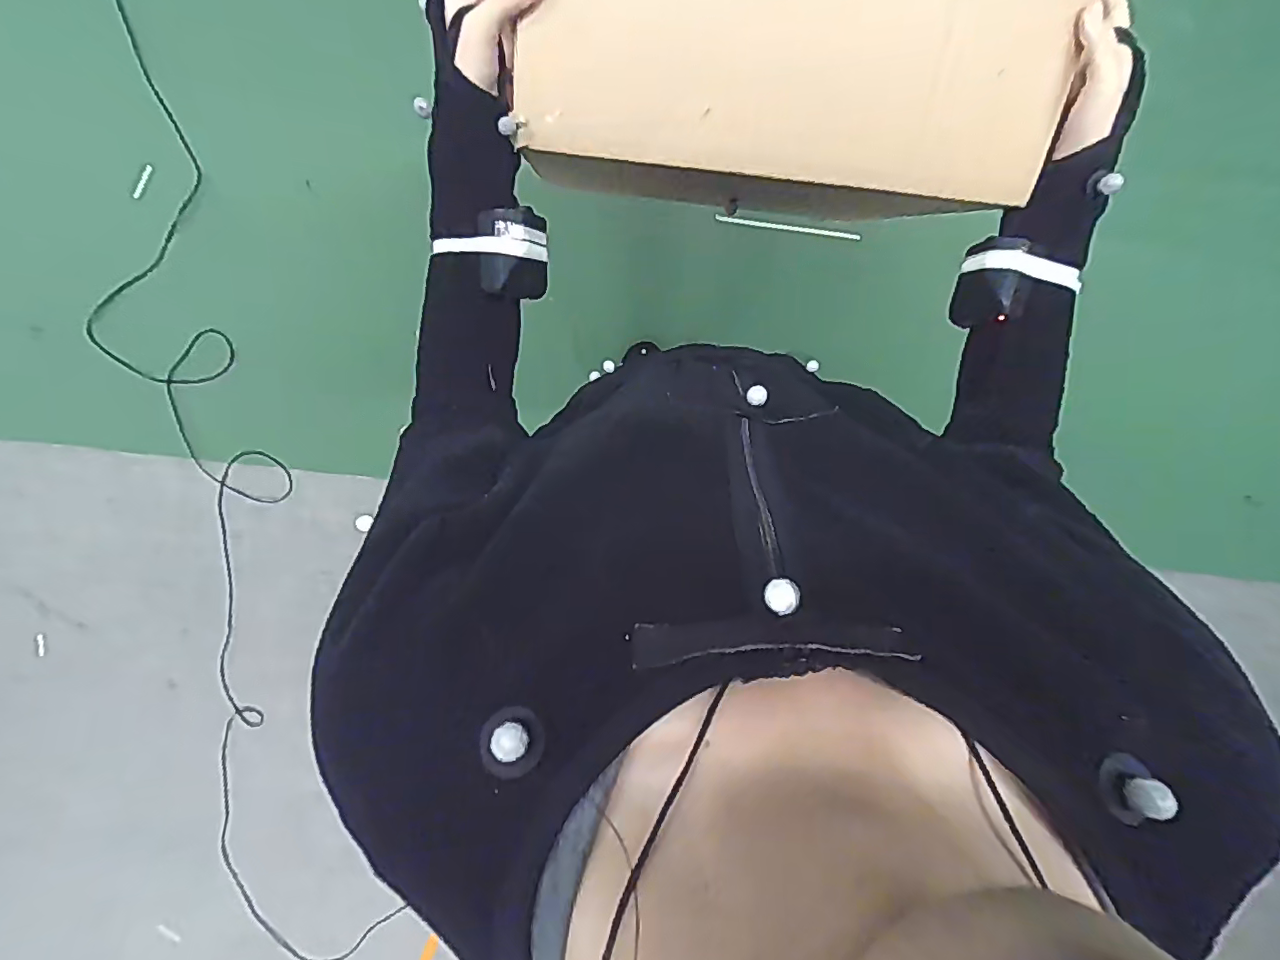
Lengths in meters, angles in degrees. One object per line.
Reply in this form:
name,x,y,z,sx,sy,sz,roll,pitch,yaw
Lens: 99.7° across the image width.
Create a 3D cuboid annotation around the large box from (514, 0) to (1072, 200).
large box,0.109,-0.443,0.492,0.408,0.320,0.320,3,114,-5
